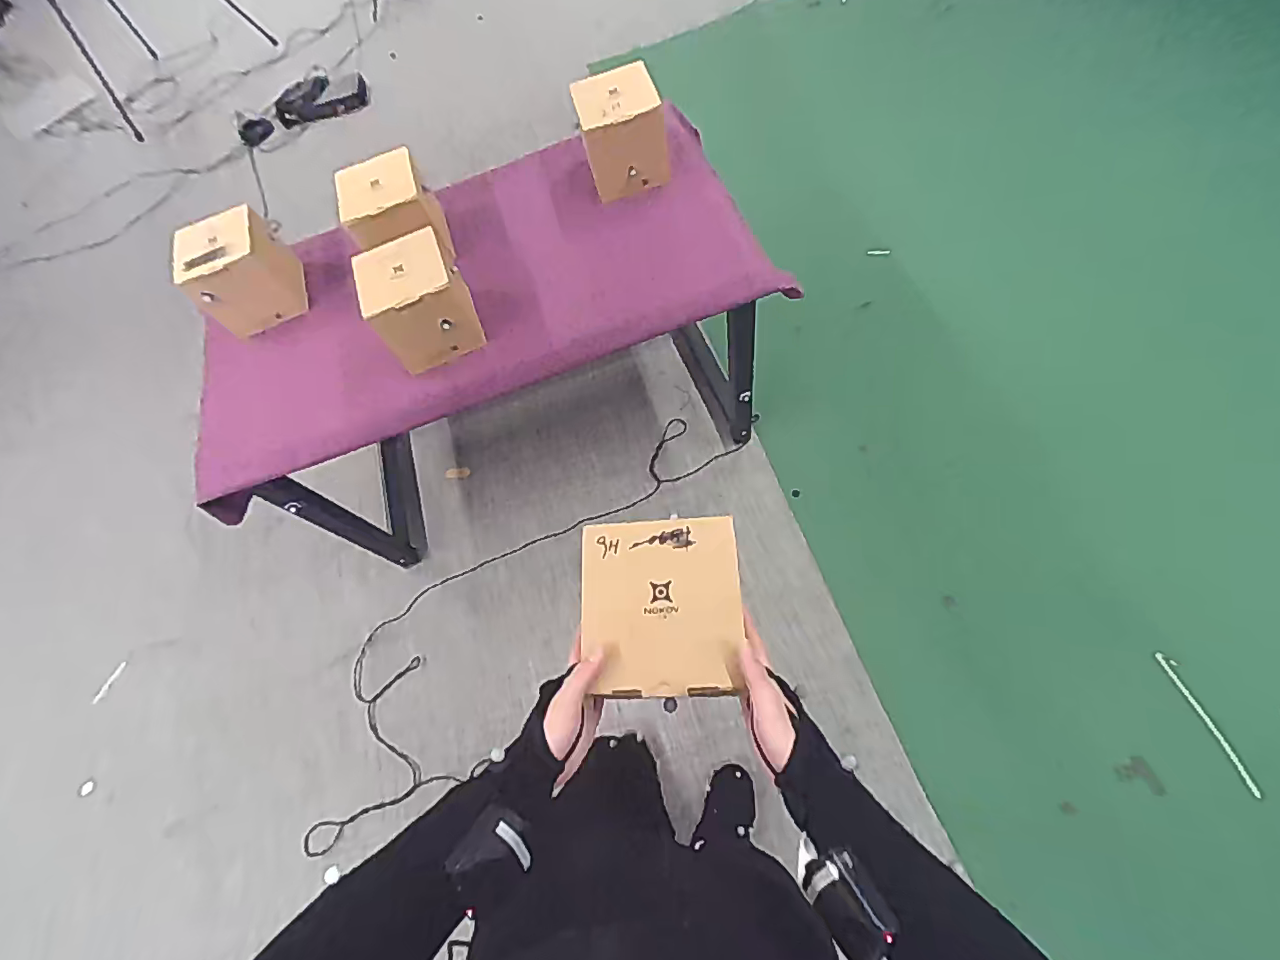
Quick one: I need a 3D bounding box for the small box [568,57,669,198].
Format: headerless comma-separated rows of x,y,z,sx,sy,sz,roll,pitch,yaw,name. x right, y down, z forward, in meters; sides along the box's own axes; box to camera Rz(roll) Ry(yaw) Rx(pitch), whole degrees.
-0.043,-0.753,1.166,0.168,0.176,0.179,-17,65,4,small box

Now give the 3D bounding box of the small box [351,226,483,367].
-0.427,-0.345,1.053,0.168,0.176,0.179,-24,62,-1,small box

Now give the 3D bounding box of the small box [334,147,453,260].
-0.531,-0.573,1.178,0.168,0.176,0.179,-22,65,0,small box

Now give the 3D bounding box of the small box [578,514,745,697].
0.029,0.151,0.618,0.168,0.176,0.179,-5,67,6,small box
